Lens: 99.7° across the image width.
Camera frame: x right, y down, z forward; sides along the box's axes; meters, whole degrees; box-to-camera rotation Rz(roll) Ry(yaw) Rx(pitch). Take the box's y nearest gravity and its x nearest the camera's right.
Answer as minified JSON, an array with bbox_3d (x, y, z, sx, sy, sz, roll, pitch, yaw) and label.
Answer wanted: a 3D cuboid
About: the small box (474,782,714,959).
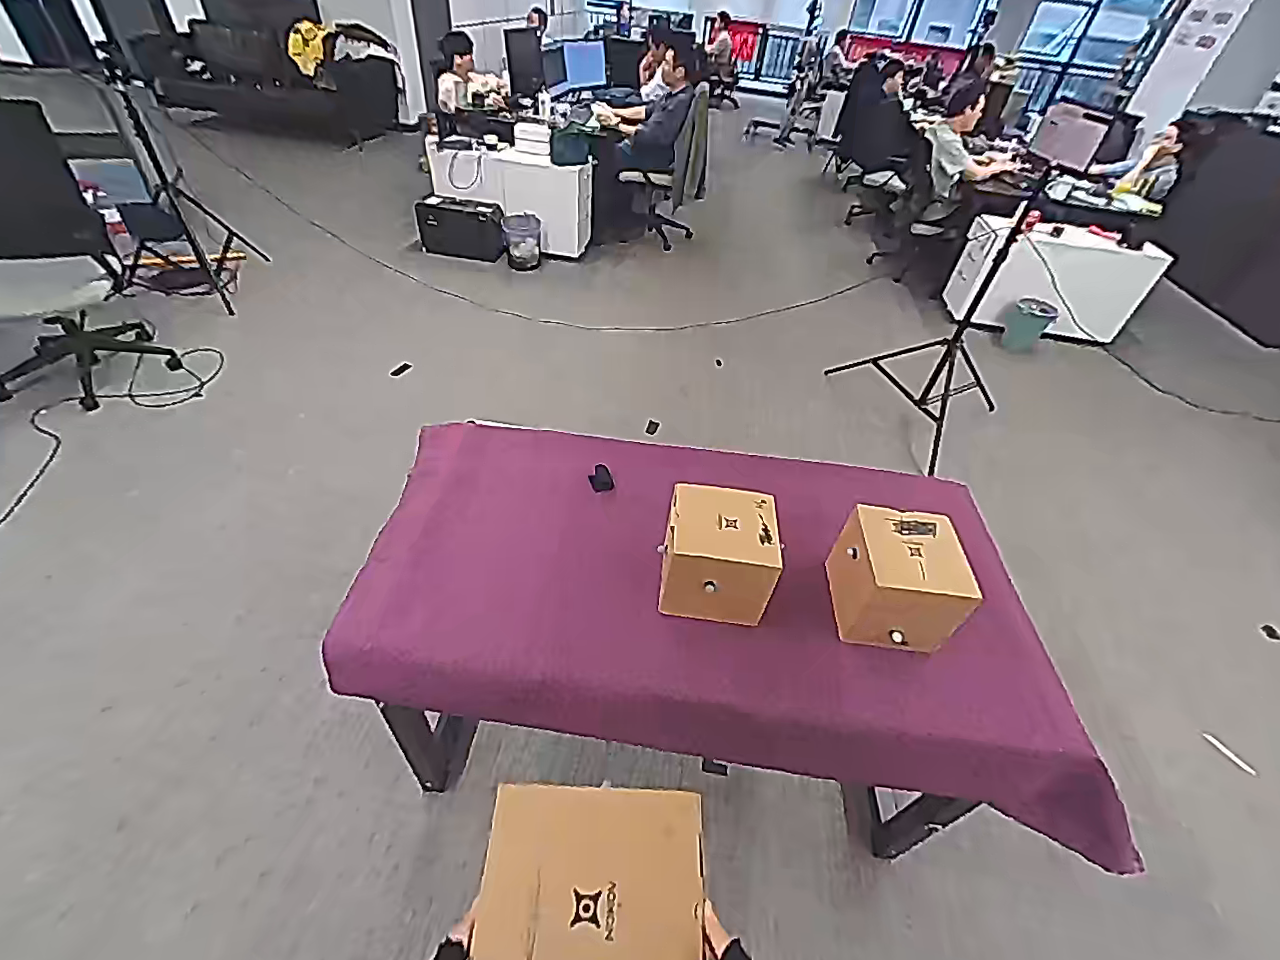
[{"bbox_3d":[-0.034,0.378,0.472,0.179,0.176,0.168,0,46,0],"label":"small box"}]

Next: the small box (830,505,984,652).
[{"bbox_3d":[0.446,0.171,0.940,0.168,0.176,0.179,7,43,1],"label":"small box"}]

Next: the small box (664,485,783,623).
[{"bbox_3d":[0.138,0.131,0.947,0.179,0.176,0.168,7,42,1],"label":"small box"}]
